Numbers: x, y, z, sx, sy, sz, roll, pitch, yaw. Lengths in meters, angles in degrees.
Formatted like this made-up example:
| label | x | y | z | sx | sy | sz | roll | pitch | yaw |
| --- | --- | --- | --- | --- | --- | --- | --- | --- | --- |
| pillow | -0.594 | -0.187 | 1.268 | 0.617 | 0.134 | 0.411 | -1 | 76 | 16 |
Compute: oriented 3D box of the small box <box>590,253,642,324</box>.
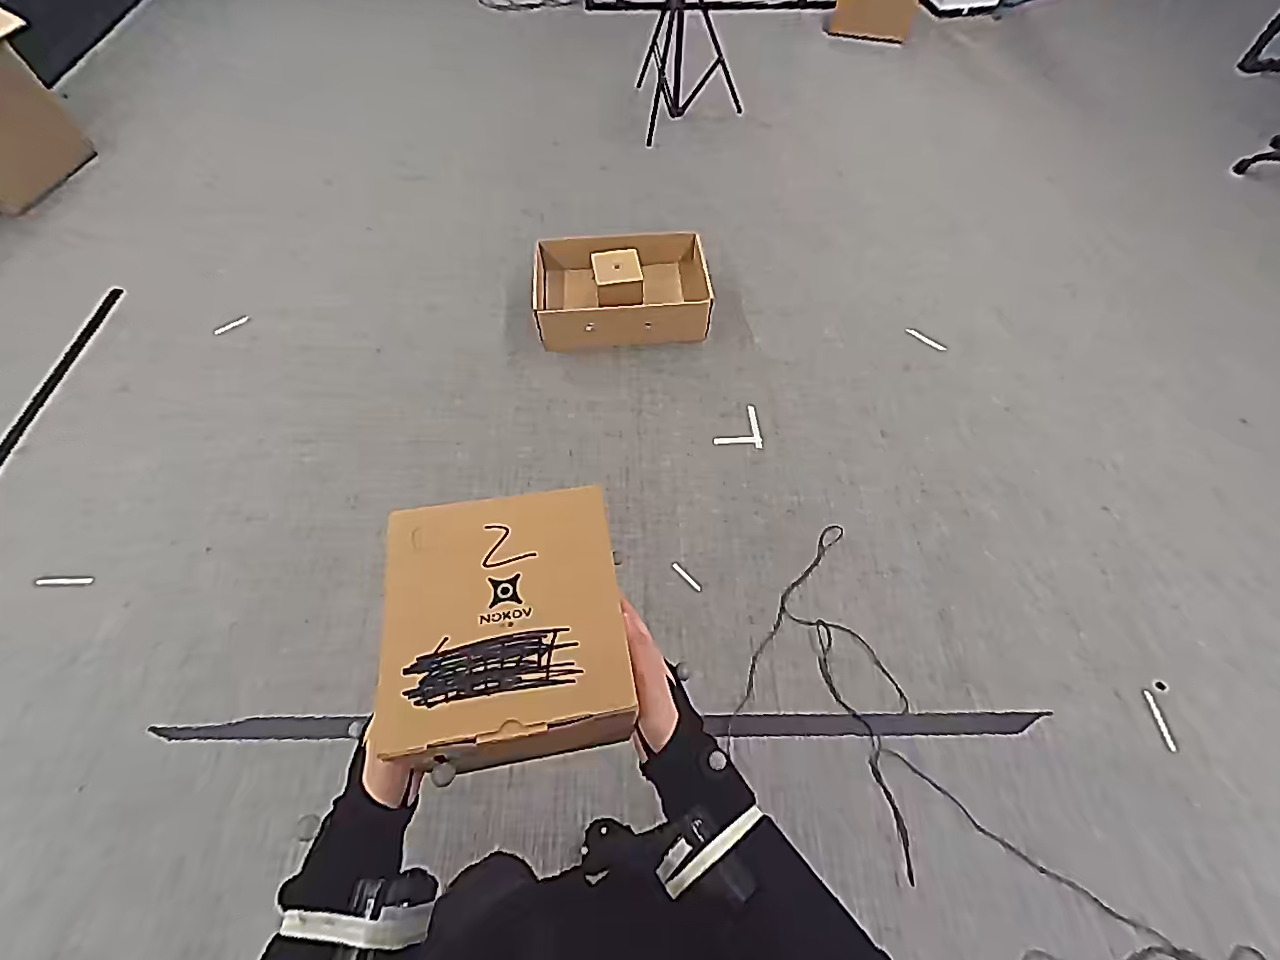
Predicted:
| label | x | y | z | sx | sy | sz | roll | pitch | yaw |
| --- | --- | --- | --- | --- | --- | --- | --- | --- | --- |
| small box | -0.089 | -0.700 | 1.978 | 0.168 | 0.176 | 0.179 | -9 | 60 | -5 |
